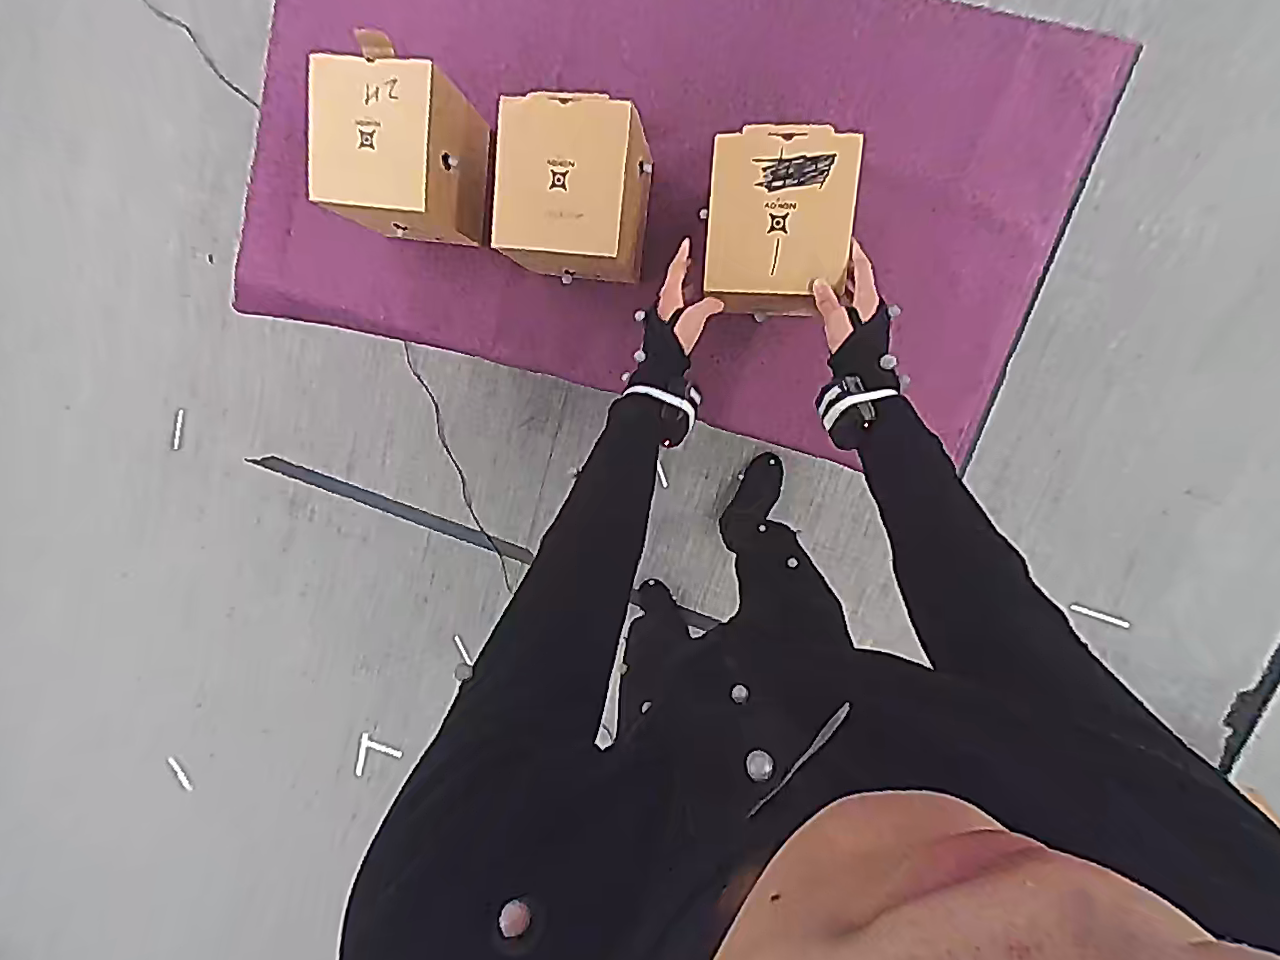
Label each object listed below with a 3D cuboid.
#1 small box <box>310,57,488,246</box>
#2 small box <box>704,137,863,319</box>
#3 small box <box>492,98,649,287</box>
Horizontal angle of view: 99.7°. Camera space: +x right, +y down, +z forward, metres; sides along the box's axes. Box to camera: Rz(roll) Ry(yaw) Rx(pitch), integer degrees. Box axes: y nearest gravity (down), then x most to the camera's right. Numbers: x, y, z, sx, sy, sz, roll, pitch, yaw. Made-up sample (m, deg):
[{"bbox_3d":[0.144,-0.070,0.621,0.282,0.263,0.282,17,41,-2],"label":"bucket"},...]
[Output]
[{"bbox_3d":[-0.327,-0.443,0.758,0.168,0.176,0.179,9,100,6],"label":"small box"},{"bbox_3d":[0.174,-0.314,0.701,0.168,0.176,0.179,5,100,8],"label":"small box"},{"bbox_3d":[-0.084,-0.376,0.733,0.168,0.176,0.179,8,100,8],"label":"small box"}]
